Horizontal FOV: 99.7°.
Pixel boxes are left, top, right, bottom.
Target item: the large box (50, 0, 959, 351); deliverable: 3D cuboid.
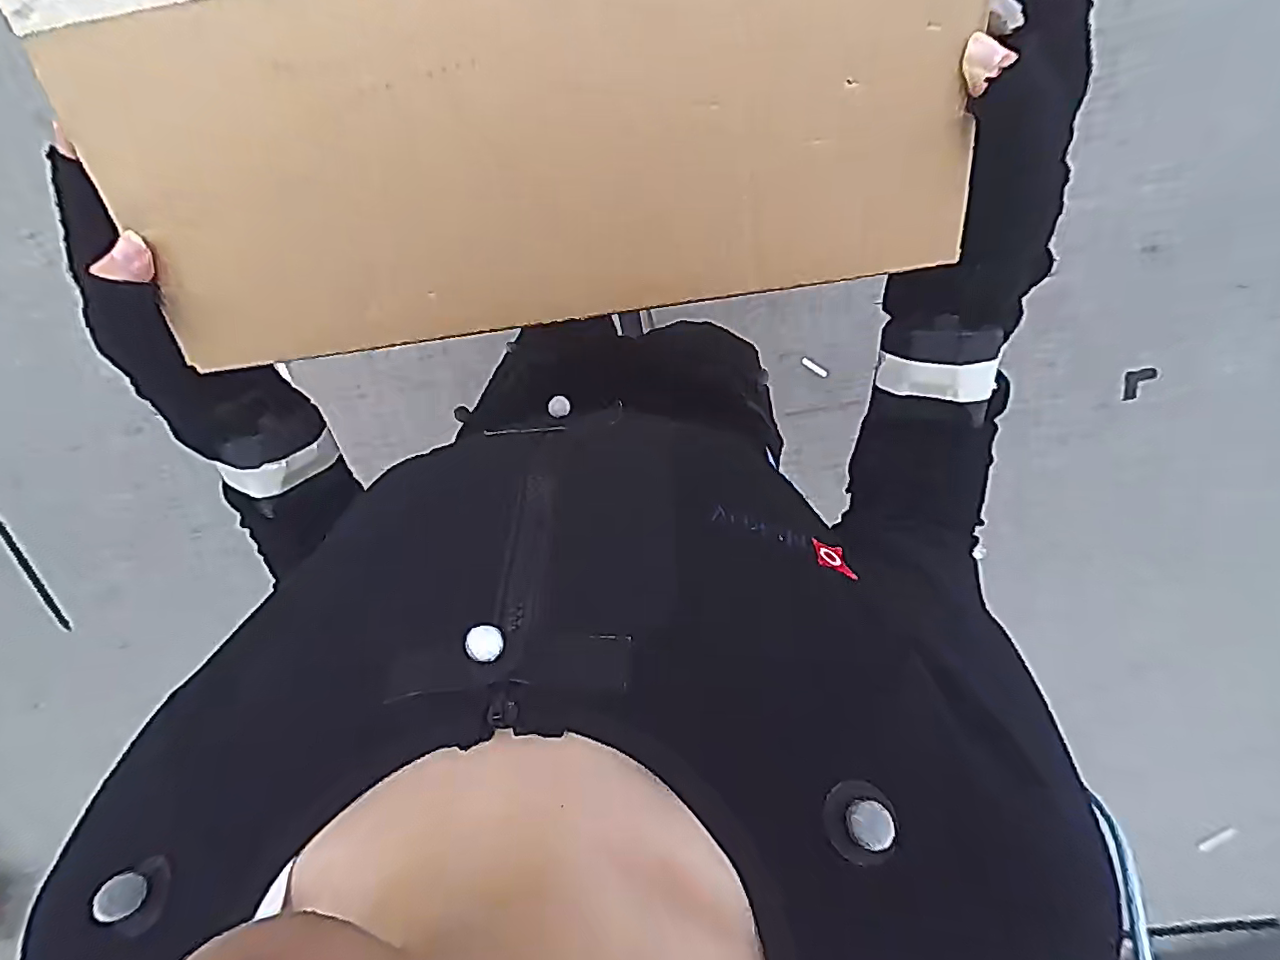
[{"bbox_3d":[-0.065,-0.299,0.359,0.408,0.320,0.320,-7,117,4],"label":"large box"}]
